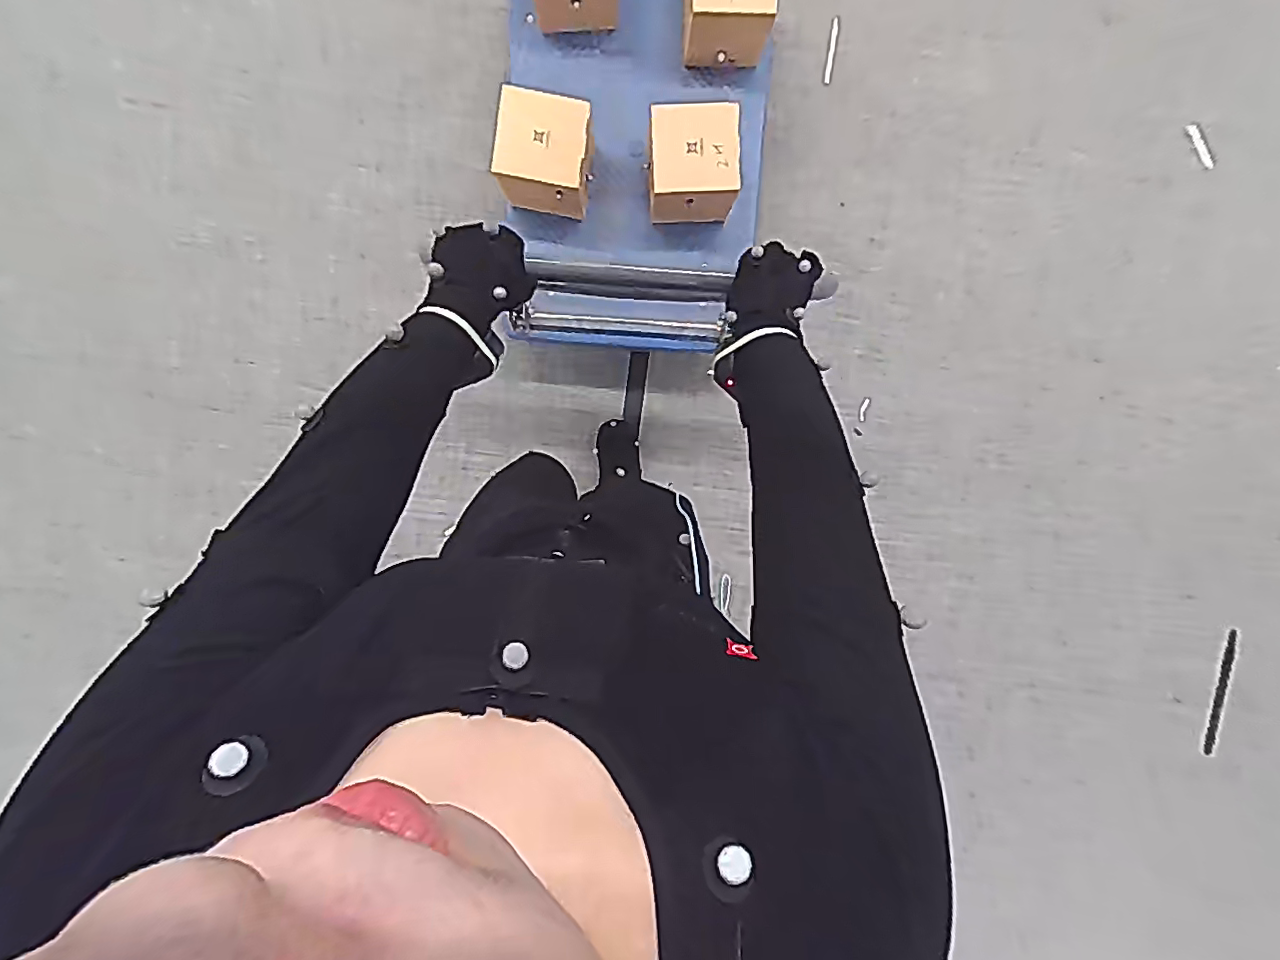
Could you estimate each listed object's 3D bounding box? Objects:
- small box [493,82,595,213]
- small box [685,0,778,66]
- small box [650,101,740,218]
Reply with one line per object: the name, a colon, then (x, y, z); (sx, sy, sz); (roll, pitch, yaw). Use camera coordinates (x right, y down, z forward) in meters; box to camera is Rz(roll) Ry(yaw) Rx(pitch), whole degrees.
small box: (-0.194, -0.688, 1.139); (0.179, 0.176, 0.168); (9, 96, -4)
small box: (0.184, -1.000, 1.110); (0.168, 0.176, 0.179); (1, 98, -1)
small box: (0.110, -0.671, 1.149); (0.179, 0.176, 0.168); (-2, 97, -1)
